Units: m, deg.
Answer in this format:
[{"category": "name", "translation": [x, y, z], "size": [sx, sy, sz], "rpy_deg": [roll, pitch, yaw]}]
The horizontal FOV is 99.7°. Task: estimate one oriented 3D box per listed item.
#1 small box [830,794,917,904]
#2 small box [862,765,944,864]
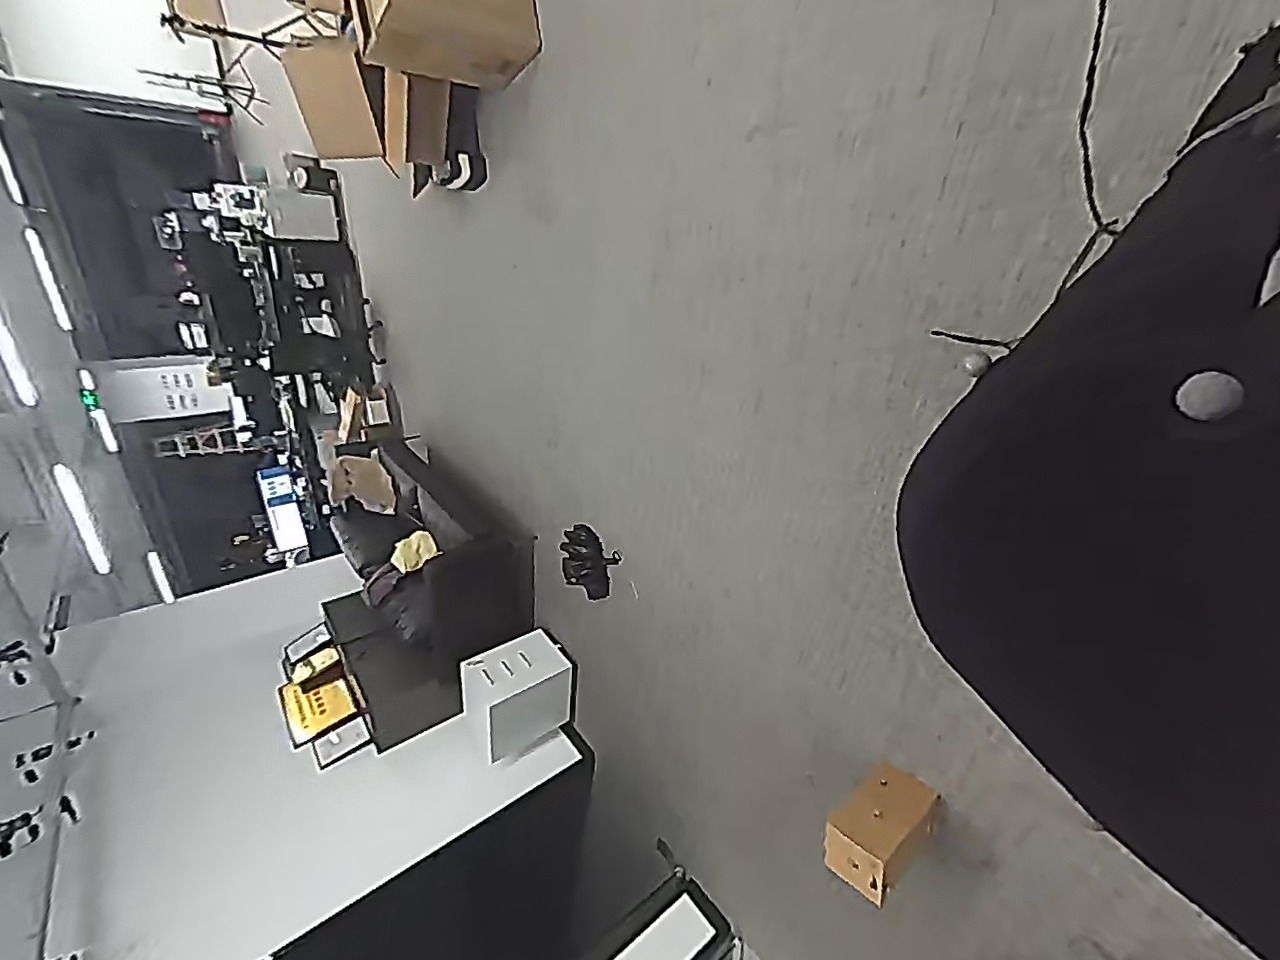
[{"category": "small box", "translation": [0.681, 1.061, 1.579], "size": [0.179, 0.176, 0.168], "rpy_deg": [13, 112, 49]}, {"category": "small box", "translation": [0.807, 1.023, 1.671], "size": [0.179, 0.176, 0.168], "rpy_deg": [15, 116, 48]}]
